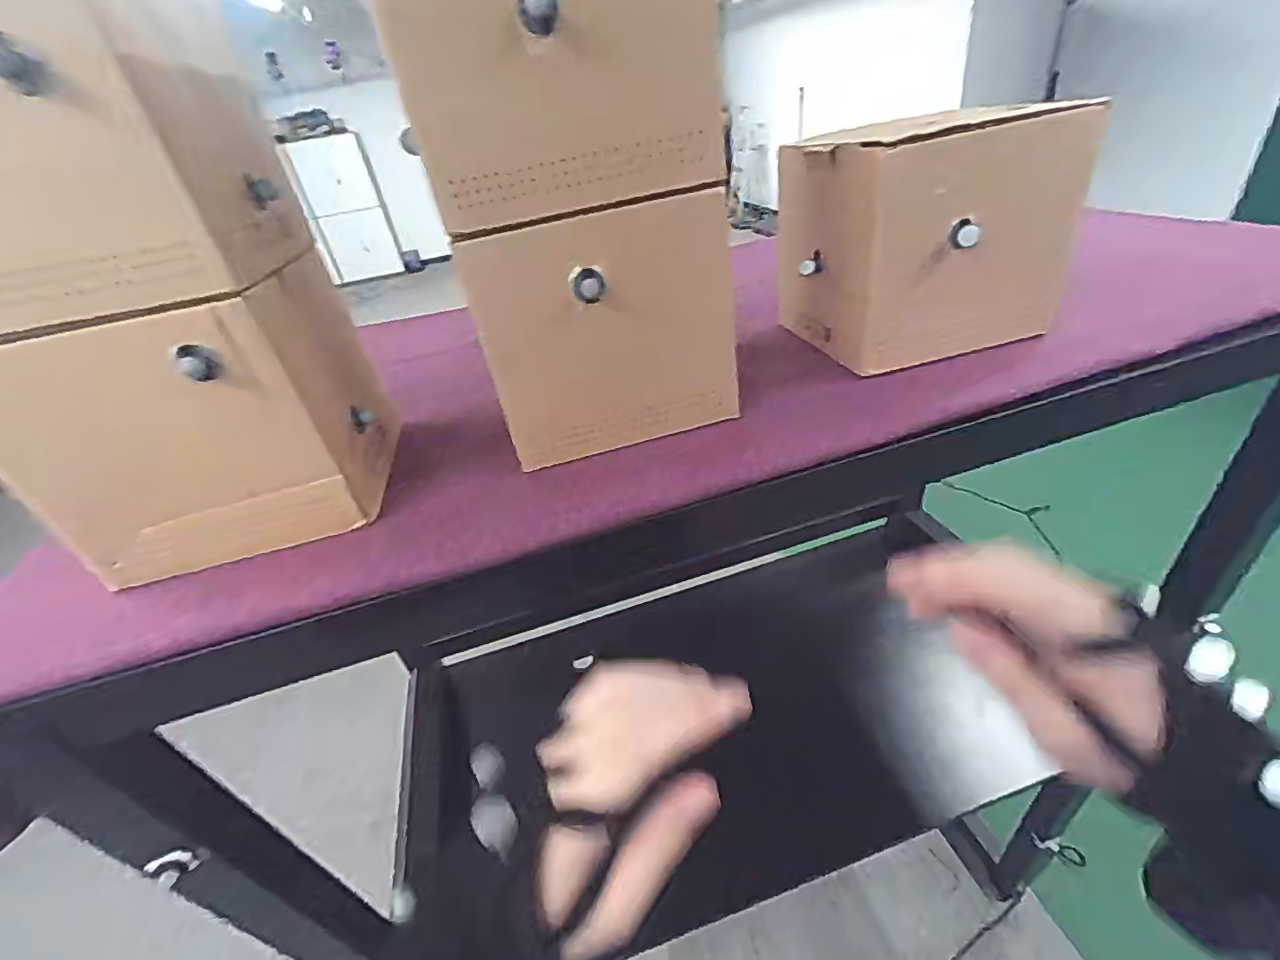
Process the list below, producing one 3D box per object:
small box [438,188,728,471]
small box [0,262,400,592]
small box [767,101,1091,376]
[{"bbox_3d":[-0.041,-0.128,0.440,0.179,0.176,0.168,-16,34,-5],"label":"small box"},{"bbox_3d":[-0.307,-0.044,0.400,0.179,0.176,0.168,-15,34,-7],"label":"small box"},{"bbox_3d":[0.229,-0.208,0.474,0.179,0.176,0.168,-16,35,-4],"label":"small box"}]
